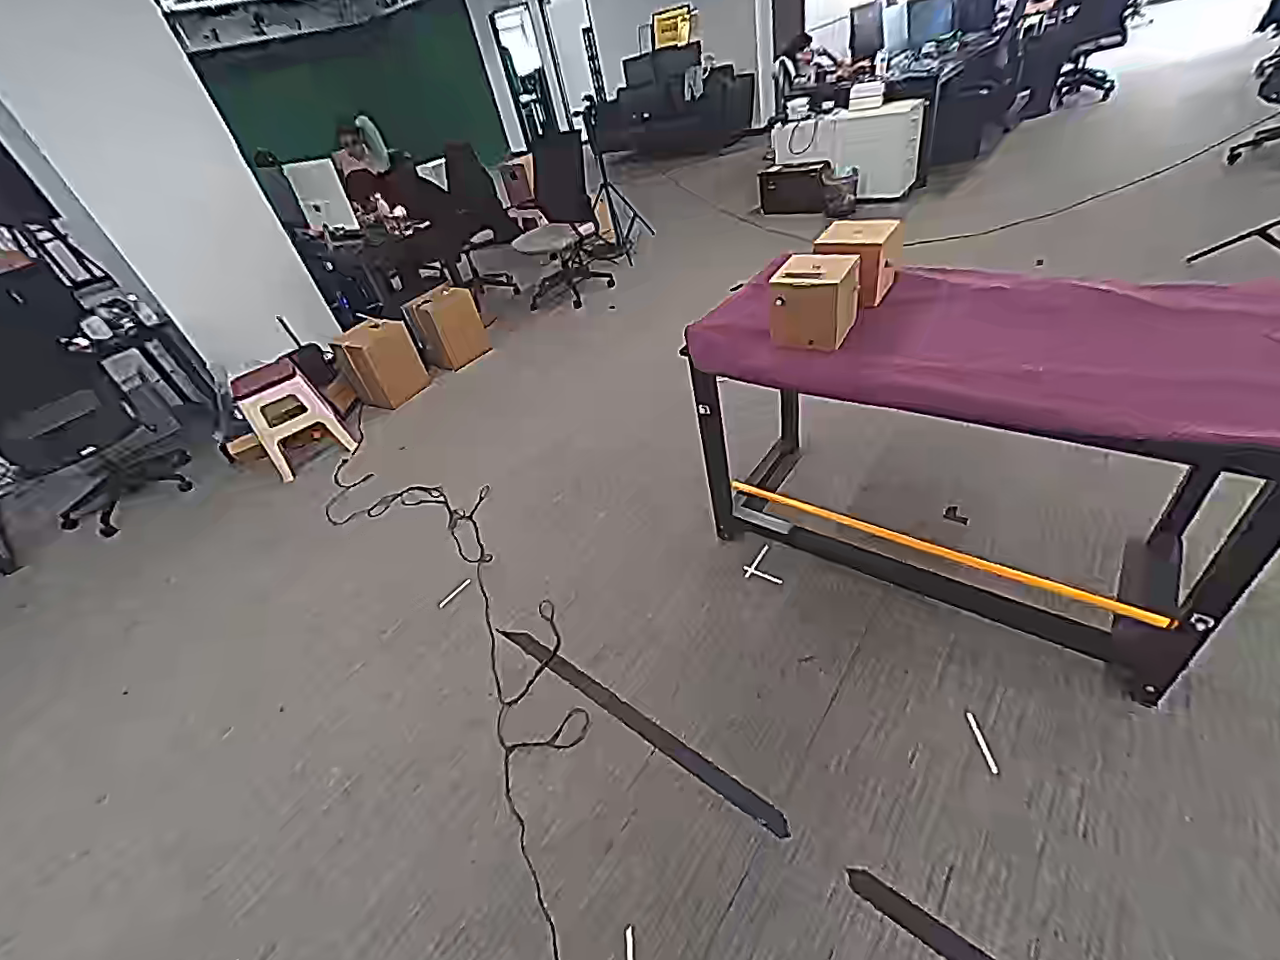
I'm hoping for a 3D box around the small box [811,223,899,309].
[{"bbox_3d":[0.576,-0.576,1.460,0.179,0.176,0.168,16,48,32],"label":"small box"}]
